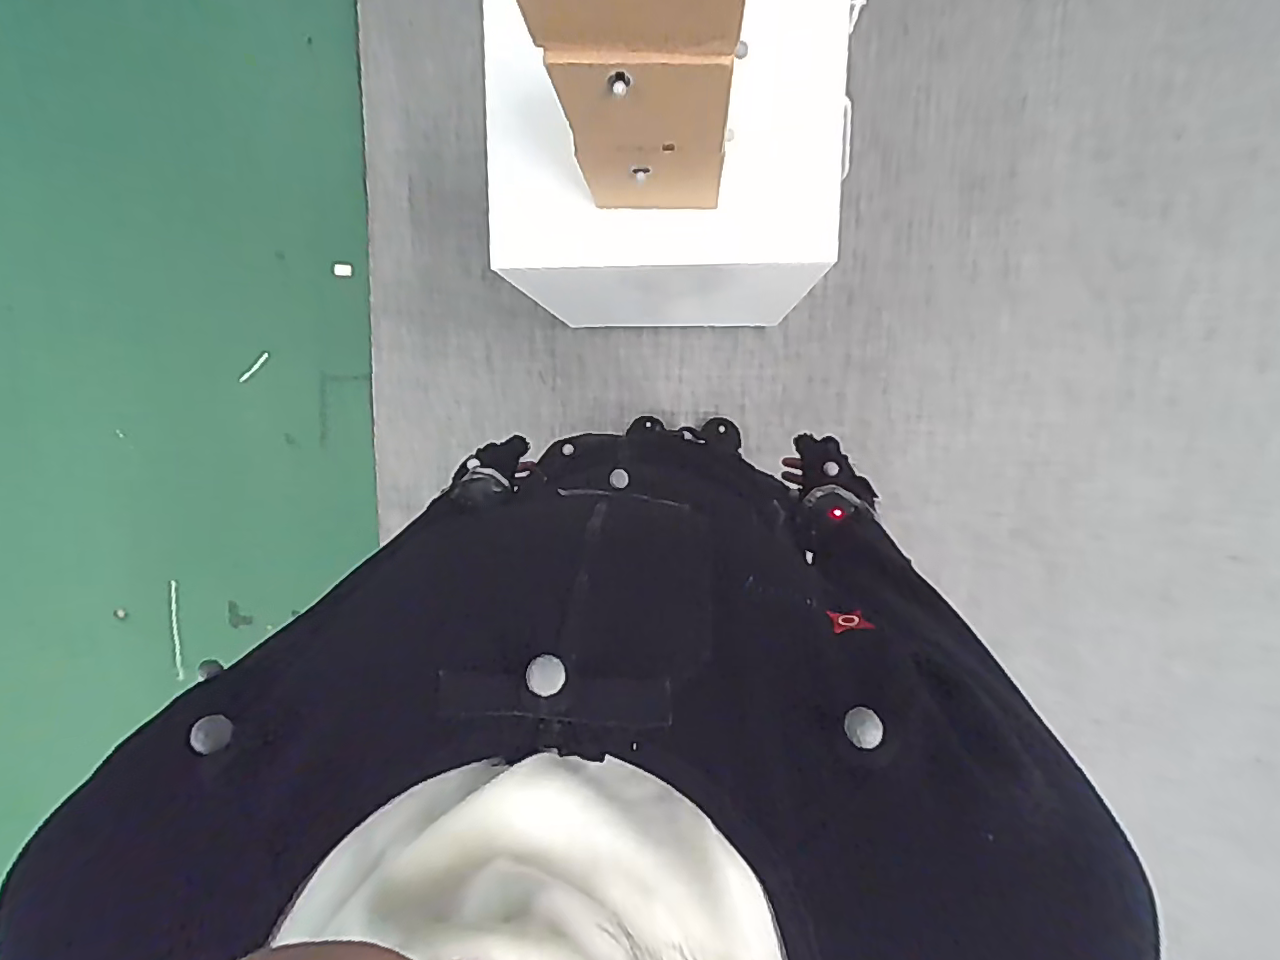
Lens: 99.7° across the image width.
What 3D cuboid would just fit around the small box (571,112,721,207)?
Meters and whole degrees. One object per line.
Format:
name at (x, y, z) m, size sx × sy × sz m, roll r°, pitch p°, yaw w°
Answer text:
small box at (0.018, -0.467, 0.694) m, size 0.179 × 0.176 × 0.168 m, roll 3°, pitch 97°, yaw 5°

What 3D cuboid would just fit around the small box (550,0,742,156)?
small box at (0.010, -0.452, 0.534) m, size 0.168 × 0.176 × 0.179 m, roll 1°, pitch 97°, yaw 4°

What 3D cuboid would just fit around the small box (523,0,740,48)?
small box at (-0.007, -0.438, 0.371) m, size 0.179 × 0.176 × 0.168 m, roll 5°, pitch 99°, yaw 4°
